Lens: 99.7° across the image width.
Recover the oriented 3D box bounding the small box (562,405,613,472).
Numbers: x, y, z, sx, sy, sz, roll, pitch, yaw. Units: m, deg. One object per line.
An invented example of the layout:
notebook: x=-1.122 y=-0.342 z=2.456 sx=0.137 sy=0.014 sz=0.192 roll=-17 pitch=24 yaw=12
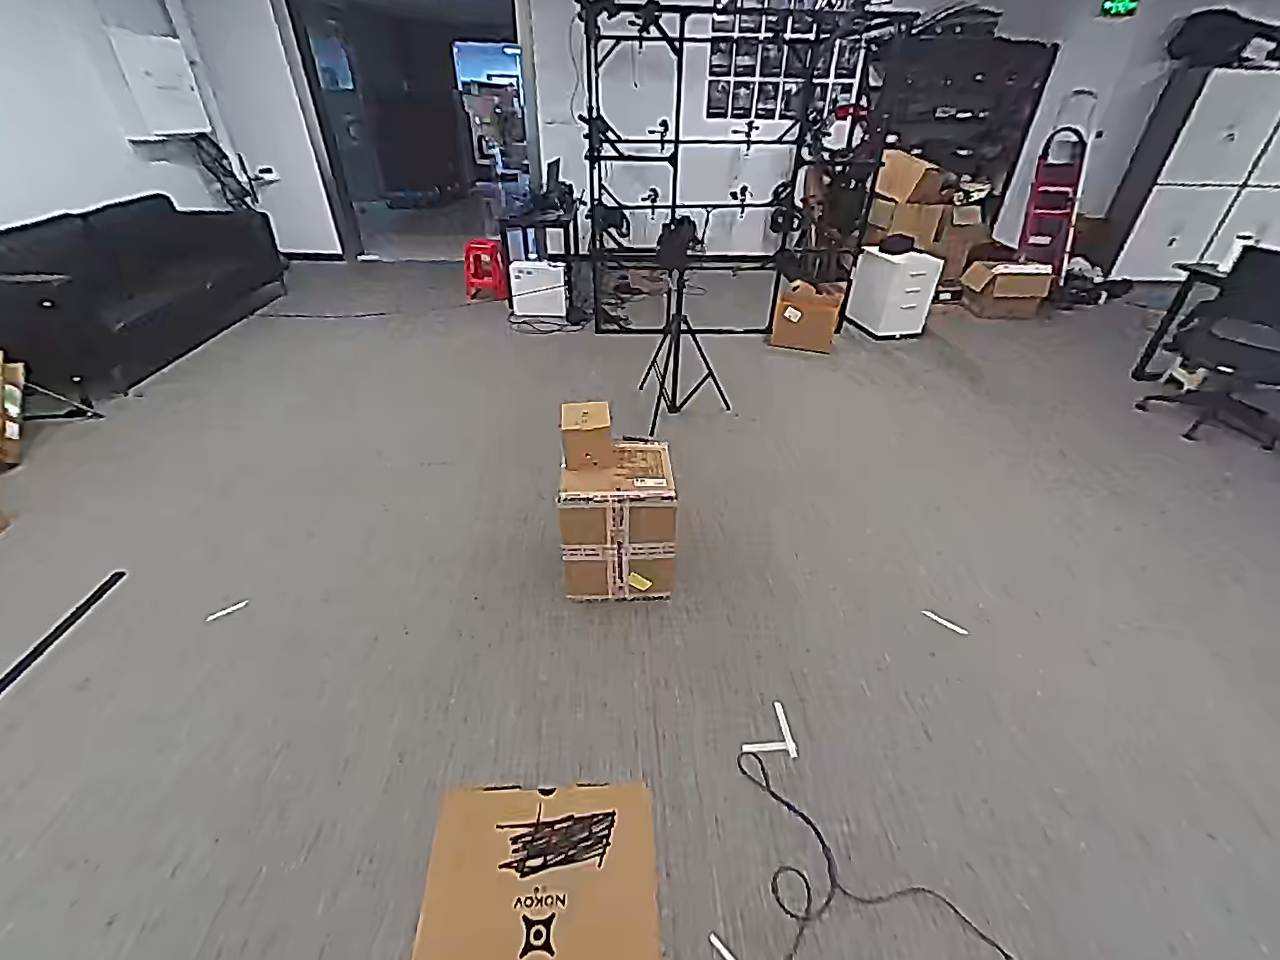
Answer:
small box: x=-0.182 y=-0.145 z=1.894 sx=0.168 sy=0.176 sz=0.179 roll=-5 pitch=38 yaw=-4

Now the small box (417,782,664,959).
small box: x=-0.075 y=0.366 z=0.425 sx=0.168 sy=0.176 sz=0.179 roll=1 pitch=39 yaw=-7
